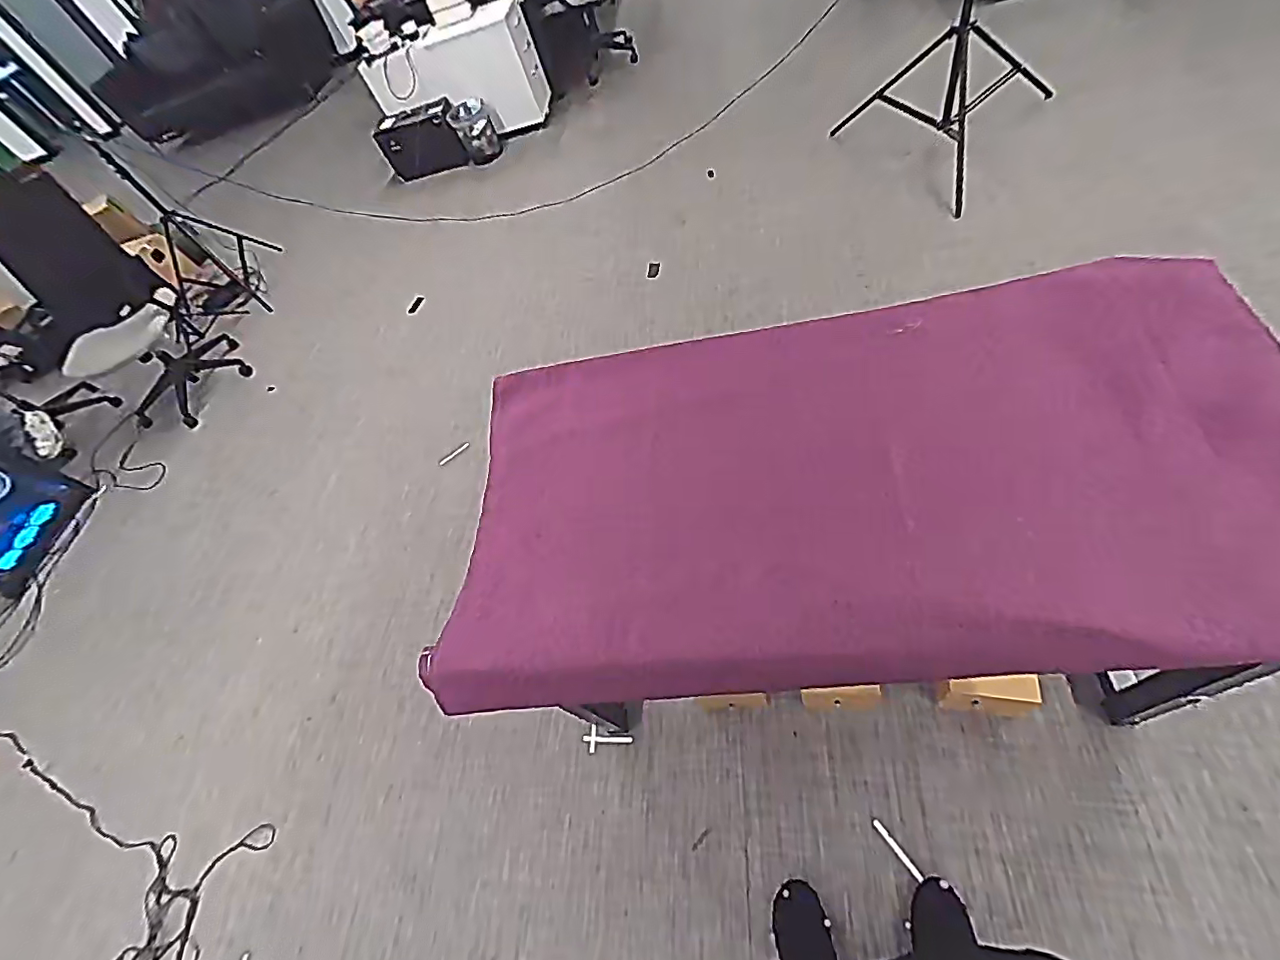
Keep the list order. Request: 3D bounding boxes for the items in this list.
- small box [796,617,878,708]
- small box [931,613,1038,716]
[{"bbox_3d":[0.467,0.441,1.299,0.168,0.176,0.179,-4,56,15],"label":"small box"},{"bbox_3d":[0.764,0.419,1.219,0.168,0.176,0.179,1,57,19],"label":"small box"}]
